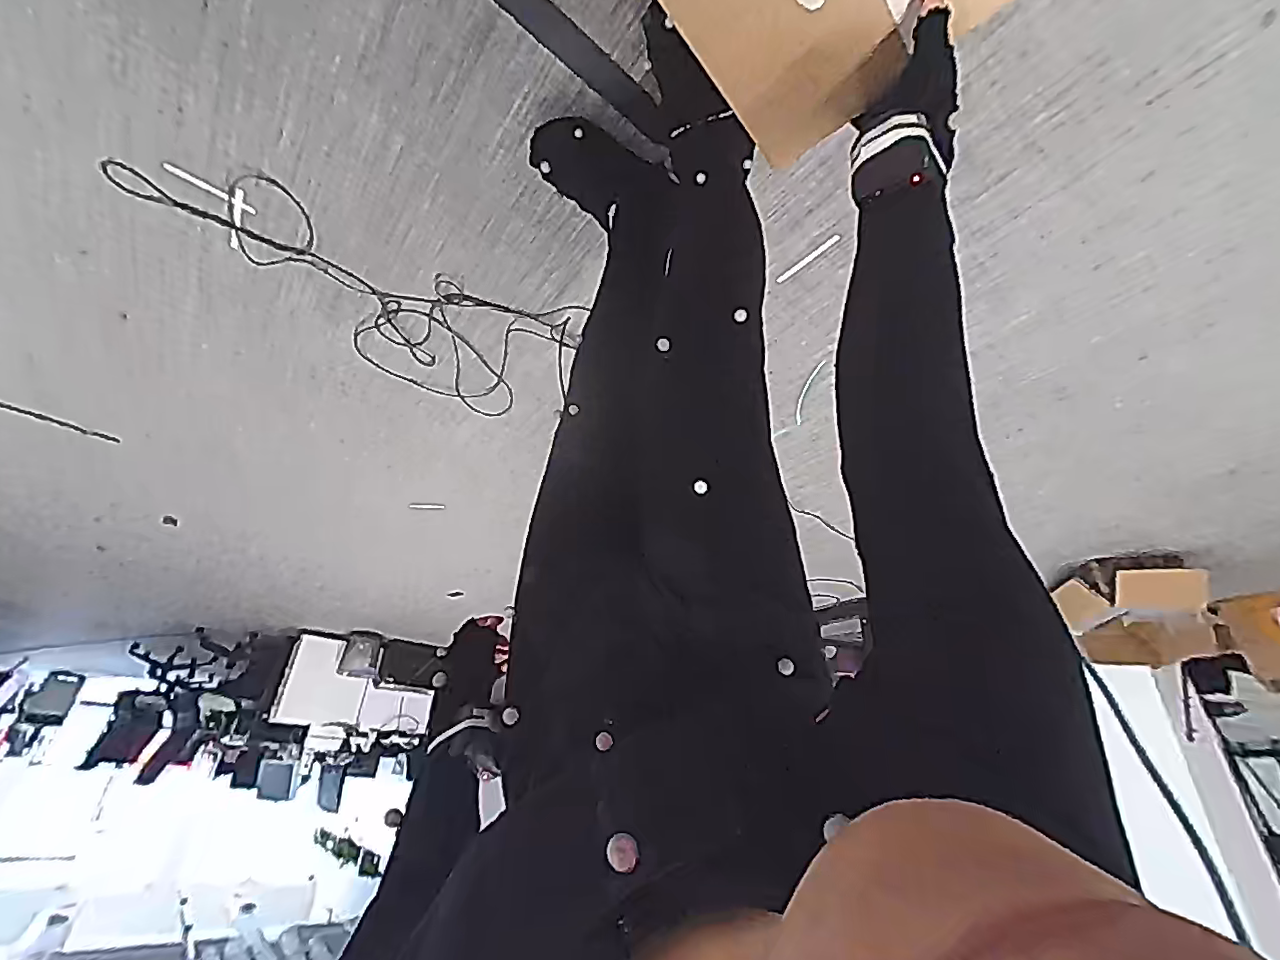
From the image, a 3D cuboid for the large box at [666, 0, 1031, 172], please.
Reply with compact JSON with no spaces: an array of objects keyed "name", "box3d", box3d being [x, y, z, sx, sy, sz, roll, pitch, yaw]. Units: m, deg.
[{"name":"large box","box3d":[0.145,-0.592,0.461,0.320,0.320,0.408,-22,143,37]}]
